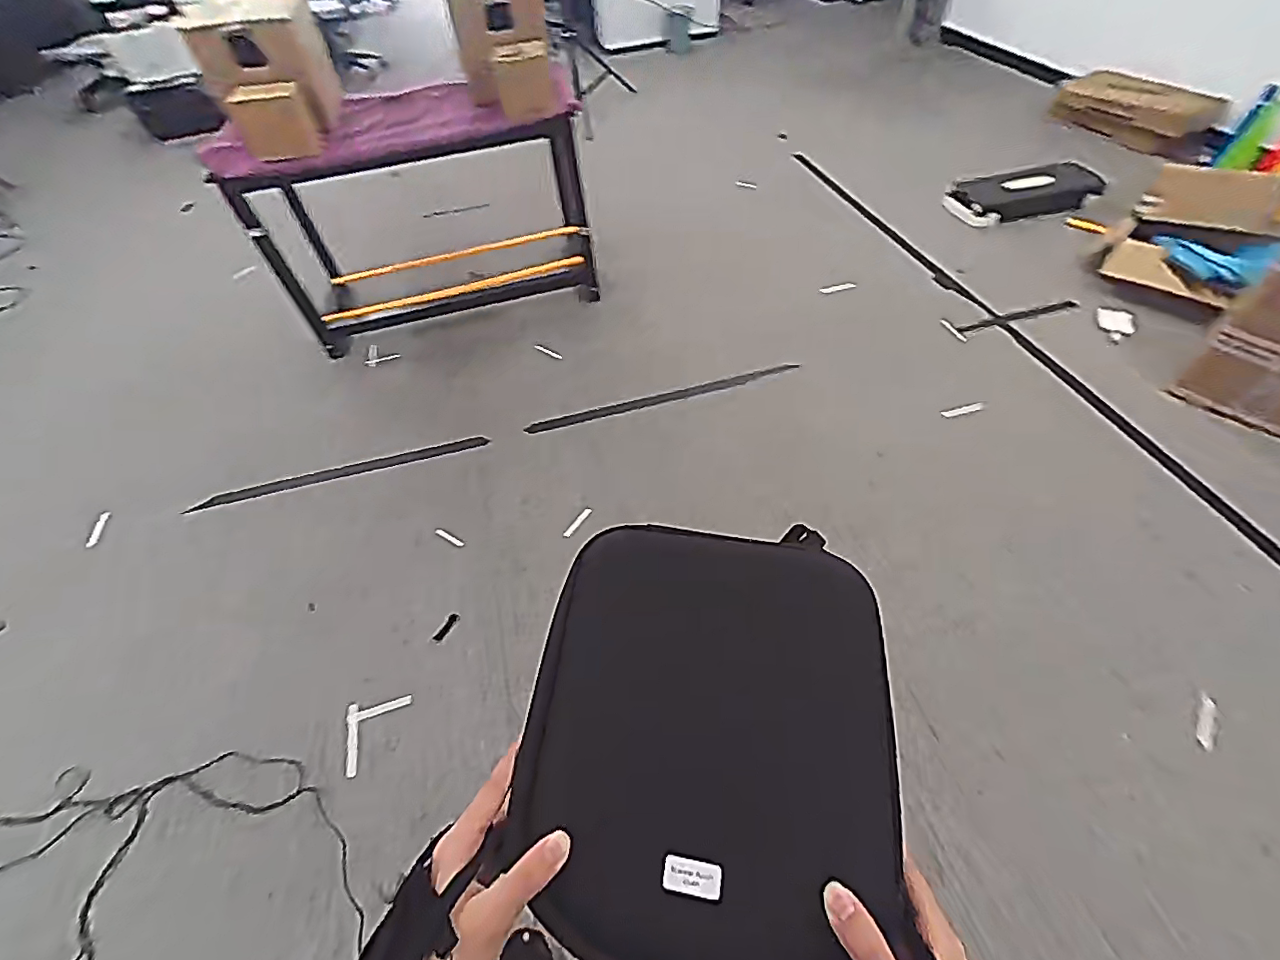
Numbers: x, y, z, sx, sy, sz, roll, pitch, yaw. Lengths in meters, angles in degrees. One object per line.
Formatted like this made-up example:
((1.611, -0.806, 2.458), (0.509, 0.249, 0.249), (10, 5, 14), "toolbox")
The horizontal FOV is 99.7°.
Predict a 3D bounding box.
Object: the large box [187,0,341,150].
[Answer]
((-1.269, -1.413, 1.877), (0.320, 0.320, 0.408), (-14, 54, -7), "large box")
